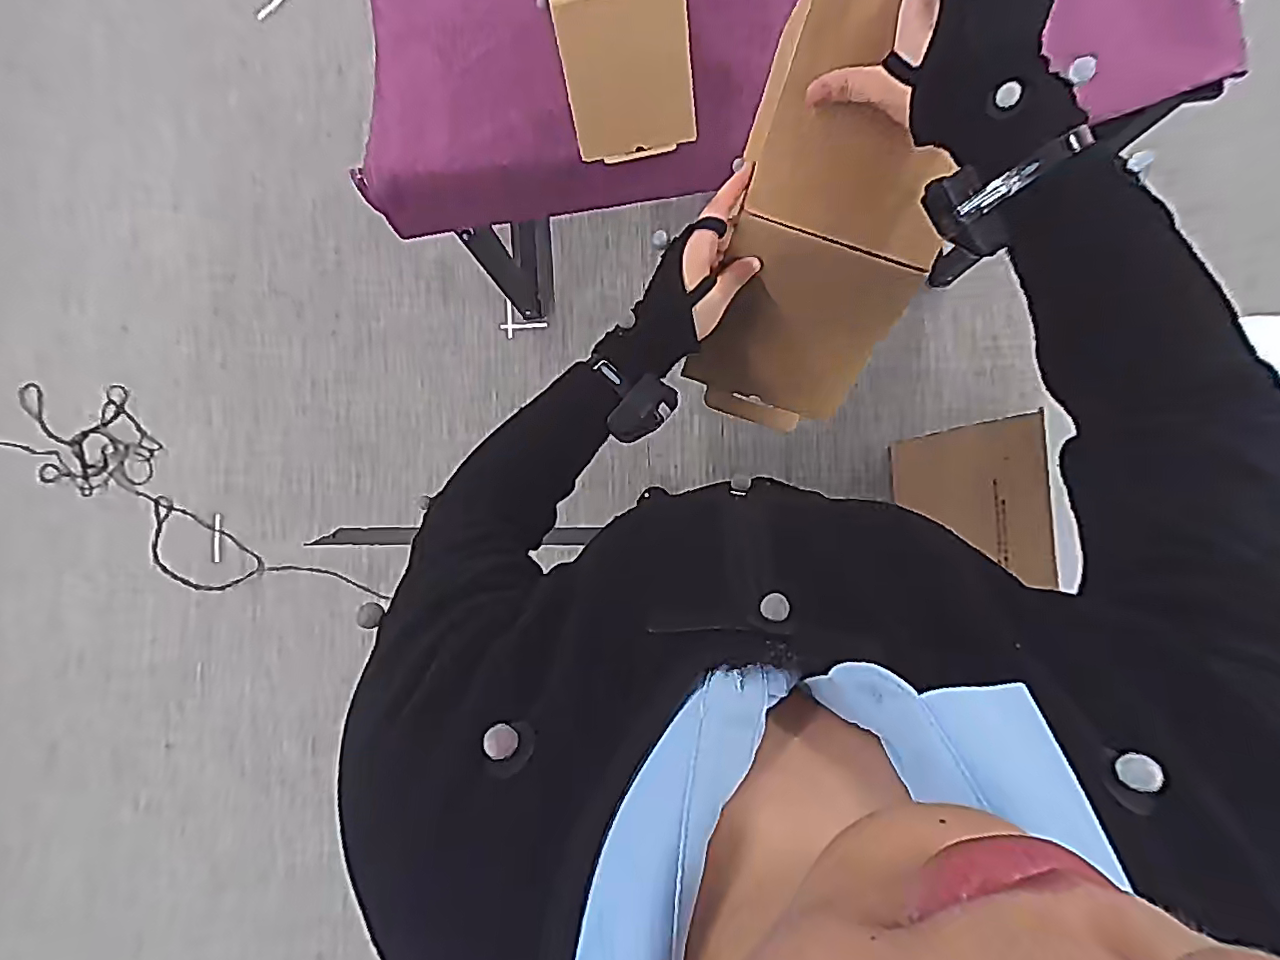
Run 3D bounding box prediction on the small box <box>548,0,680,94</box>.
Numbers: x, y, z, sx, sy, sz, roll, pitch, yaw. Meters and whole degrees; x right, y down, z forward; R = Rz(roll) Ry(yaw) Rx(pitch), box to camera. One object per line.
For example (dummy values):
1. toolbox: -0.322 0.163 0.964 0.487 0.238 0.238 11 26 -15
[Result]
1. small box: -0.038 -0.663 0.731 0.168 0.176 0.179 -9 86 2
